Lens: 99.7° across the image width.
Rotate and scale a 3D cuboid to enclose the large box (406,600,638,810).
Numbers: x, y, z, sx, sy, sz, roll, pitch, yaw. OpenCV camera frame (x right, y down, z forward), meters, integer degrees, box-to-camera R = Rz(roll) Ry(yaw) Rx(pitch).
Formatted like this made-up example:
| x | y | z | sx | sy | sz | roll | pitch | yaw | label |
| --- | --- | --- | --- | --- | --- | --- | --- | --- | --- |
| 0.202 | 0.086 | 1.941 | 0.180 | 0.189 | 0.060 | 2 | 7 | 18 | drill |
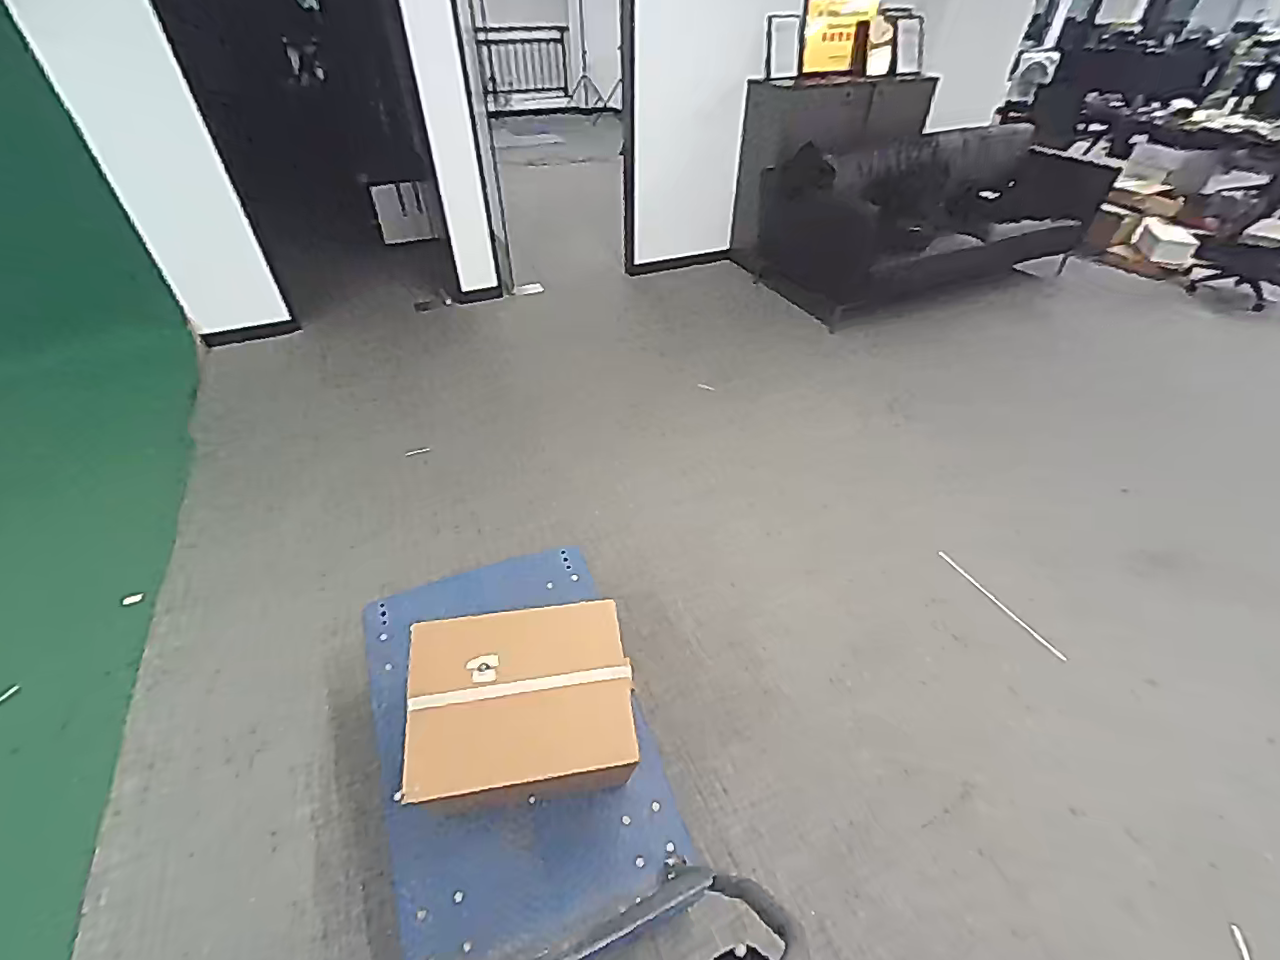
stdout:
| x | y | z | sx | sy | sz | roll | pitch | yaw | label |
| --- | --- | --- | --- | --- | --- | --- | --- | --- | --- |
| -0.234 | 0.477 | 1.137 | 0.408 | 0.320 | 0.320 | -5 | 56 | -9 | large box |
